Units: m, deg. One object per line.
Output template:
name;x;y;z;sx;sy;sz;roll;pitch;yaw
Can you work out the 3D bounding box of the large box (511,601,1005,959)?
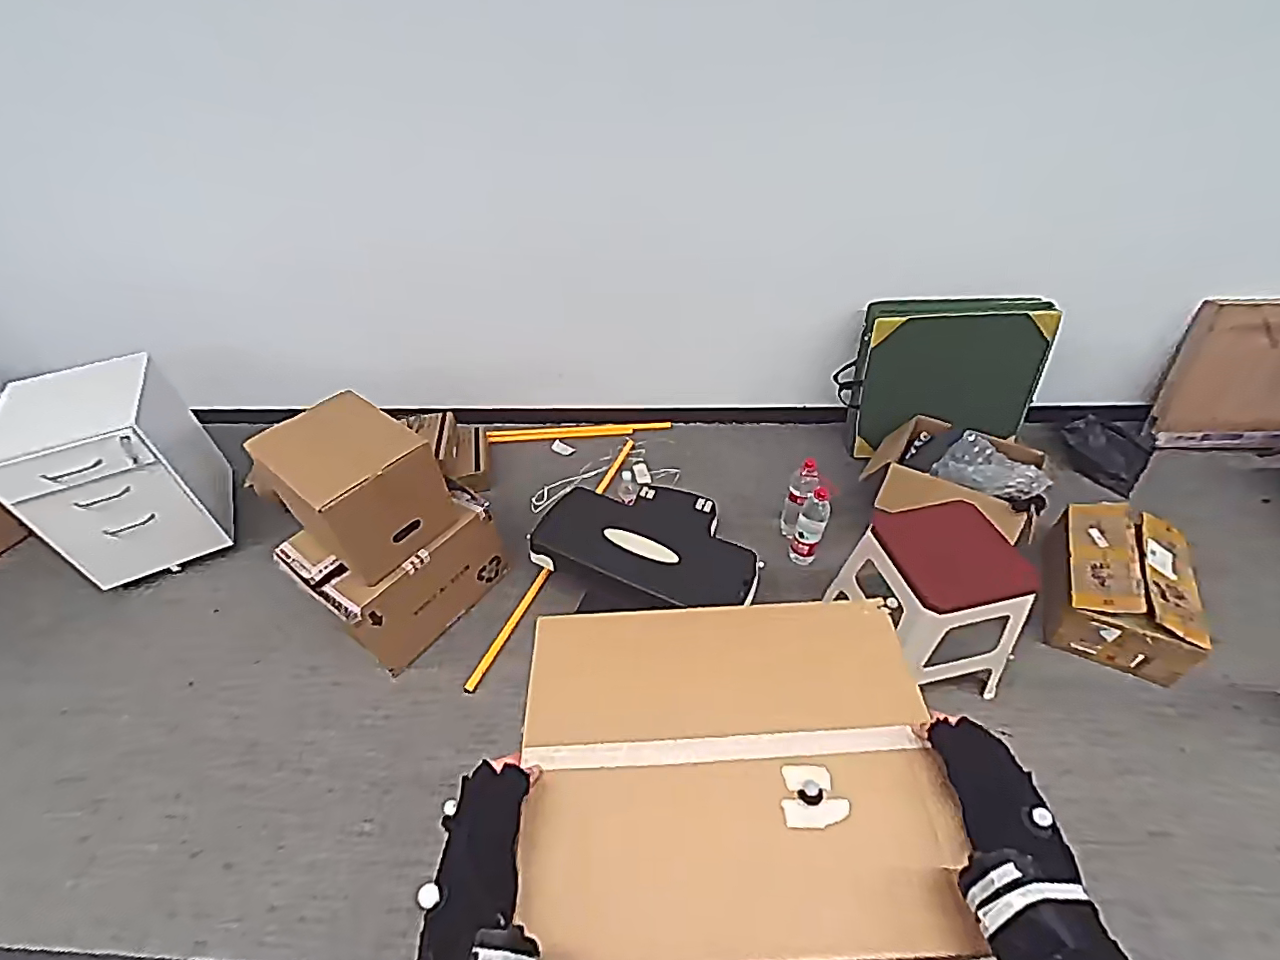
large box;0.092;0.368;0.634;0.408;0.320;0.320;-3;45;0
